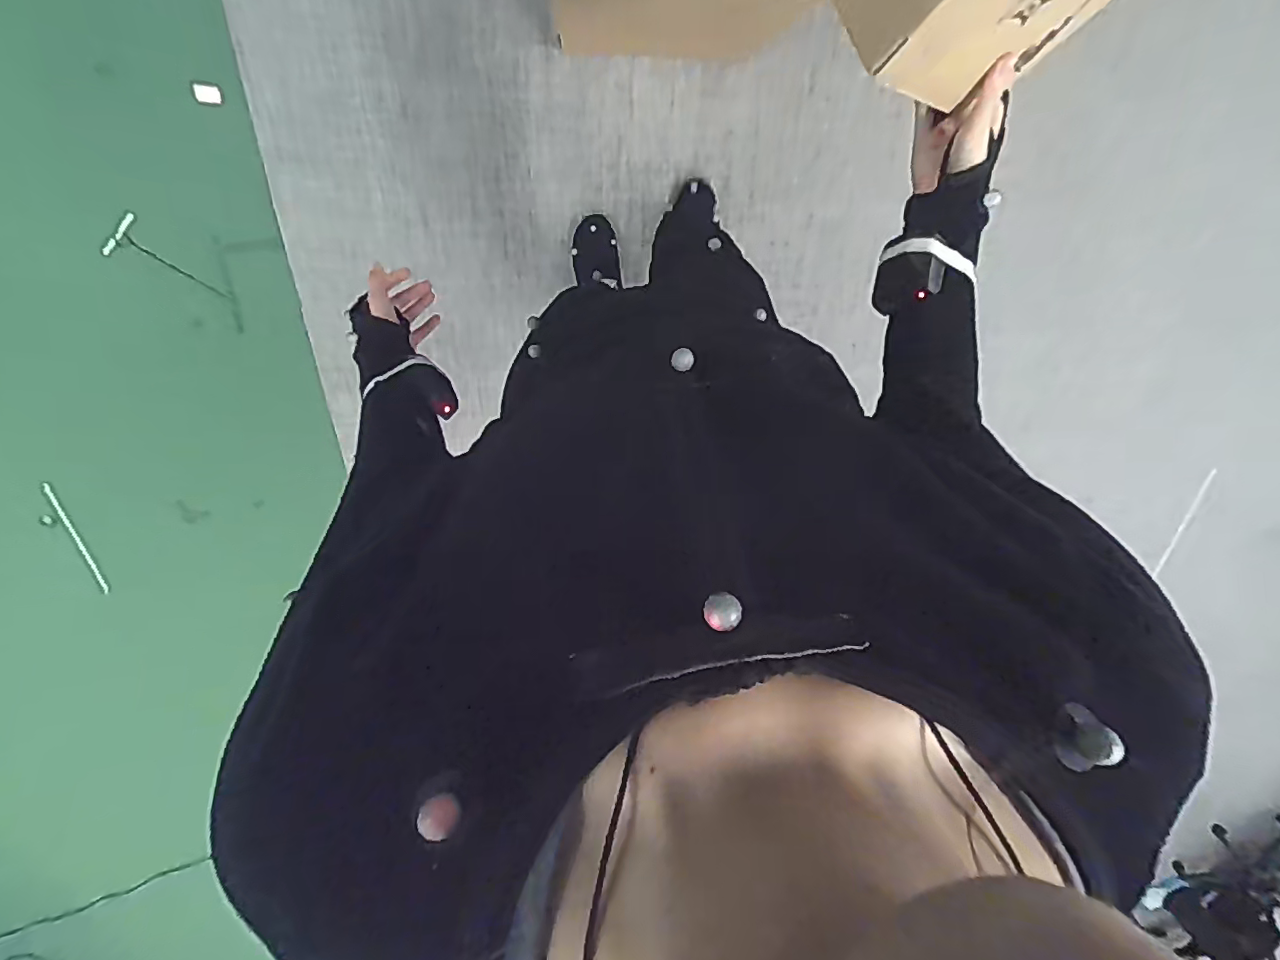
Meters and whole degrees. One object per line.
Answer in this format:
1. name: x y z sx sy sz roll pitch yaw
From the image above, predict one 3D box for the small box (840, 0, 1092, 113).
1. small box: 0.248 -0.430 0.405 0.179 0.176 0.168 -12 167 -36
